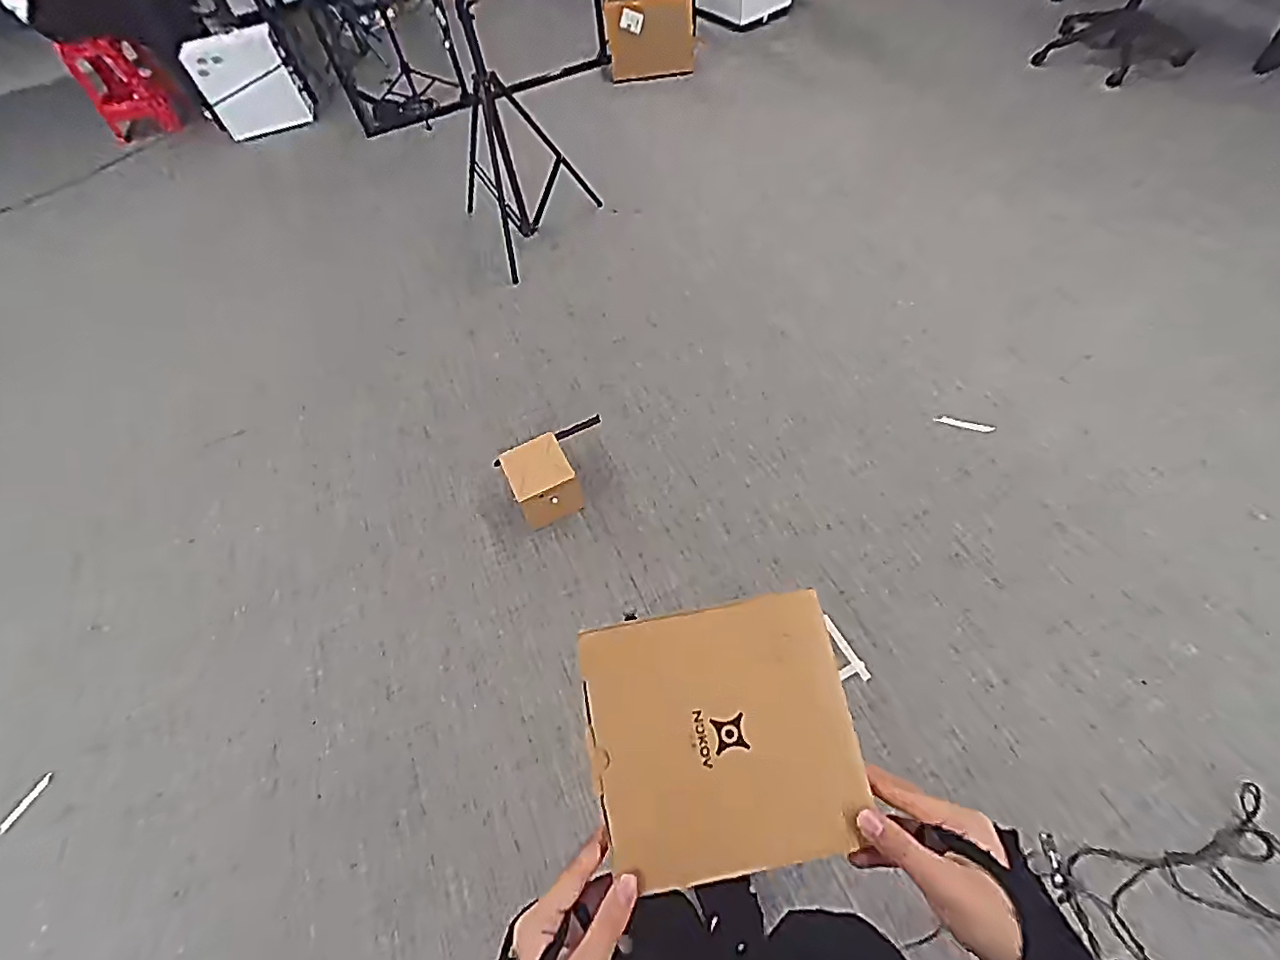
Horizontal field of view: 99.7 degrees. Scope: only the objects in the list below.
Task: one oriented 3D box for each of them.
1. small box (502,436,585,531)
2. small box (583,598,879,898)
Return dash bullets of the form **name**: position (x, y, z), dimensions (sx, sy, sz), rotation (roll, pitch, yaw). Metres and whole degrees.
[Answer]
- **small box**: position (-0.275, 0.006, 1.534), dimensions (0.168, 0.176, 0.179), rotation (-25, 58, -9)
- **small box**: position (0.058, 0.192, 0.442), dimensions (0.179, 0.176, 0.168), rotation (-11, 76, -1)
